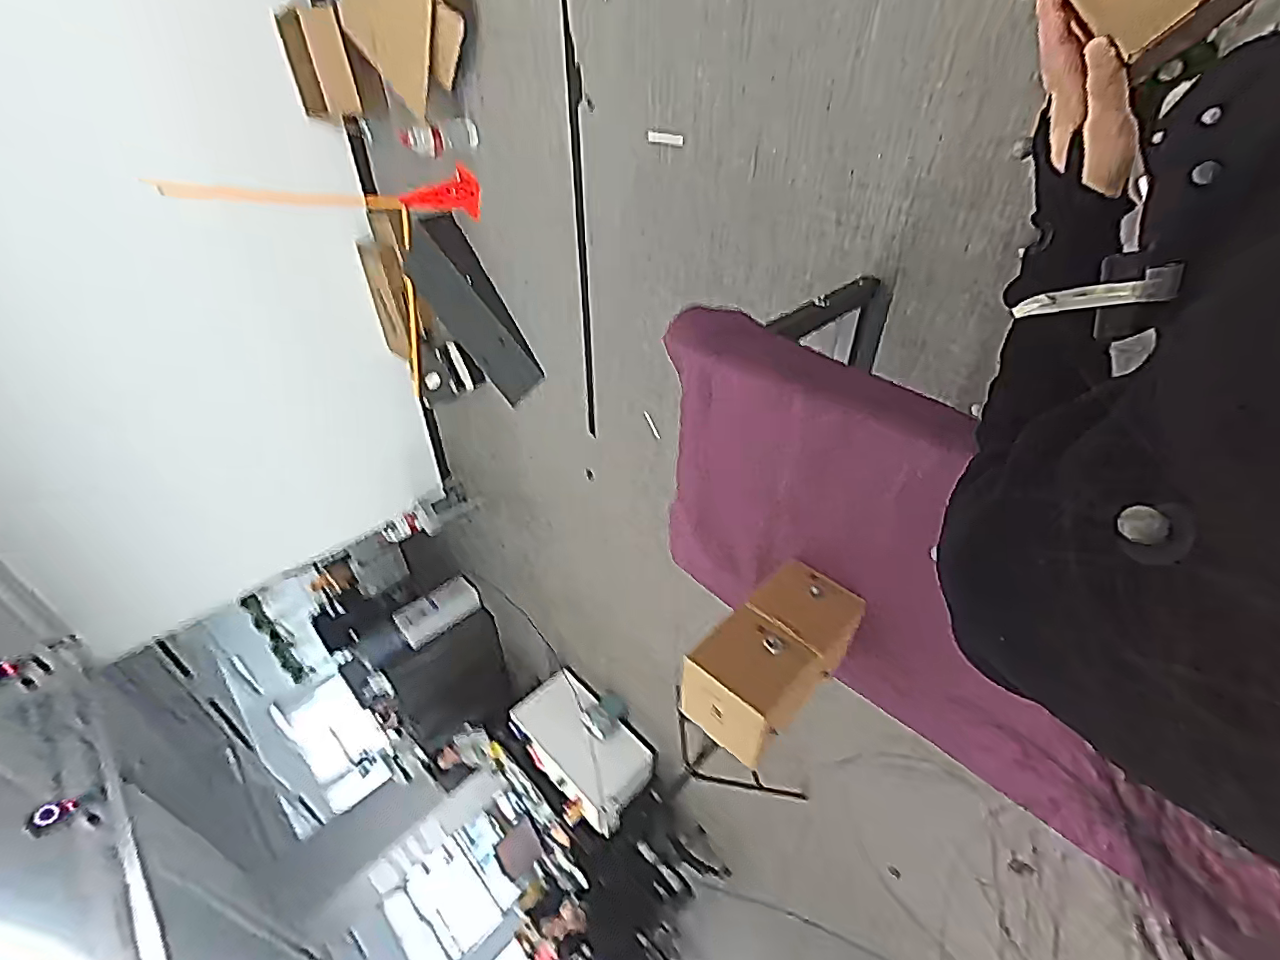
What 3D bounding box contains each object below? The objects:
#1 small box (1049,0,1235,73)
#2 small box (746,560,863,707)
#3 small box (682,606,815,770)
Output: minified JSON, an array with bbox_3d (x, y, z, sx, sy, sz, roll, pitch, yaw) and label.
[{"bbox_3d":[0.335,-0.384,0.318,0.168,0.176,0.179,-33,89,43],"label":"small box"},{"bbox_3d":[0.310,0.294,1.059,0.168,0.176,0.179,31,136,32],"label":"small box"},{"bbox_3d":[0.193,0.366,0.973,0.168,0.176,0.179,29,135,34],"label":"small box"}]
